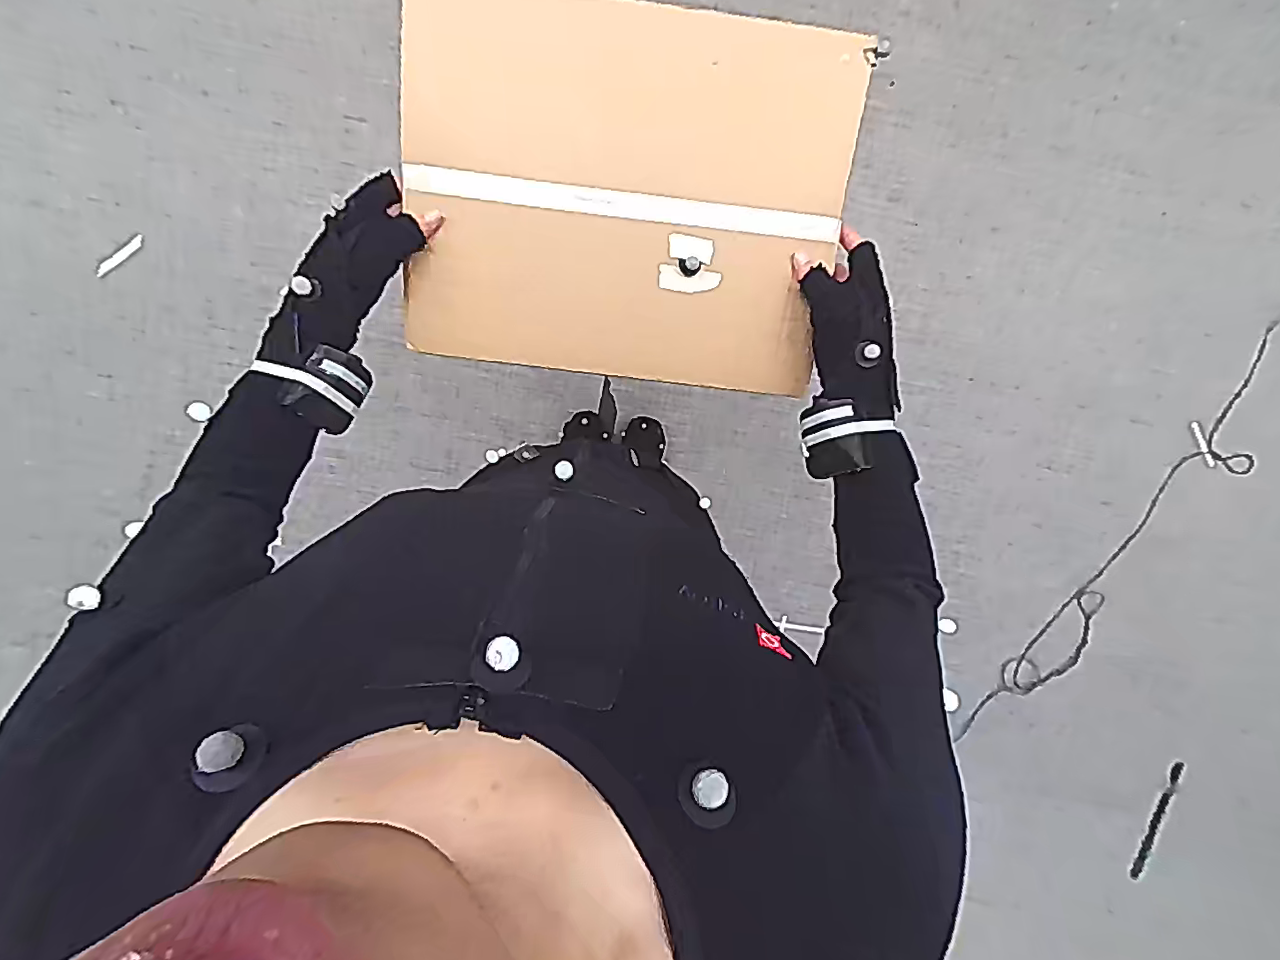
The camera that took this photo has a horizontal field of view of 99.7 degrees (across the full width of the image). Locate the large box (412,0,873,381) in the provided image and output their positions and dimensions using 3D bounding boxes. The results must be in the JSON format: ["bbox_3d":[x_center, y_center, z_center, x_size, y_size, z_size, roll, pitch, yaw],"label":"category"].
[{"bbox_3d":[-0.013,-0.304,0.643,0.408,0.320,0.320,6,107,-3],"label":"large box"}]
